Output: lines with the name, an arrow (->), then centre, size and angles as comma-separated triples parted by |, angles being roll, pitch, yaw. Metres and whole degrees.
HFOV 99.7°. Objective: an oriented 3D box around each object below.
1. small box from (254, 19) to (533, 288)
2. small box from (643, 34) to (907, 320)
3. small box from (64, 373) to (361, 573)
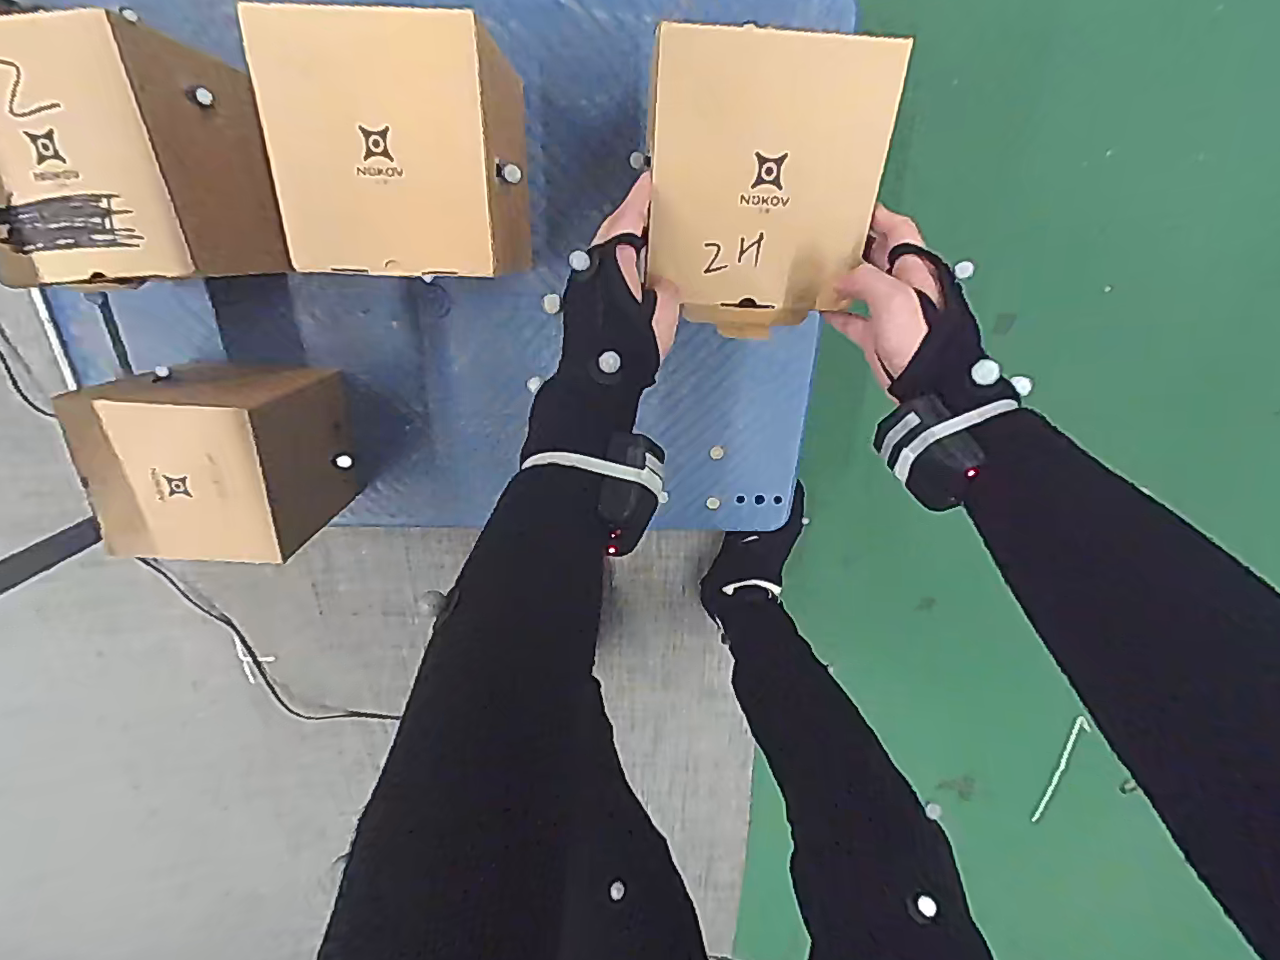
small box -> -0.194, -0.273, 0.487 | 0.168, 0.176, 0.179 | 1, 114, -1
small box -> 0.090, -0.248, 0.464 | 0.168, 0.176, 0.179 | 2, 120, -2
small box -> -0.437, -0.017, 0.590 | 0.179, 0.176, 0.168 | 3, 113, -2
